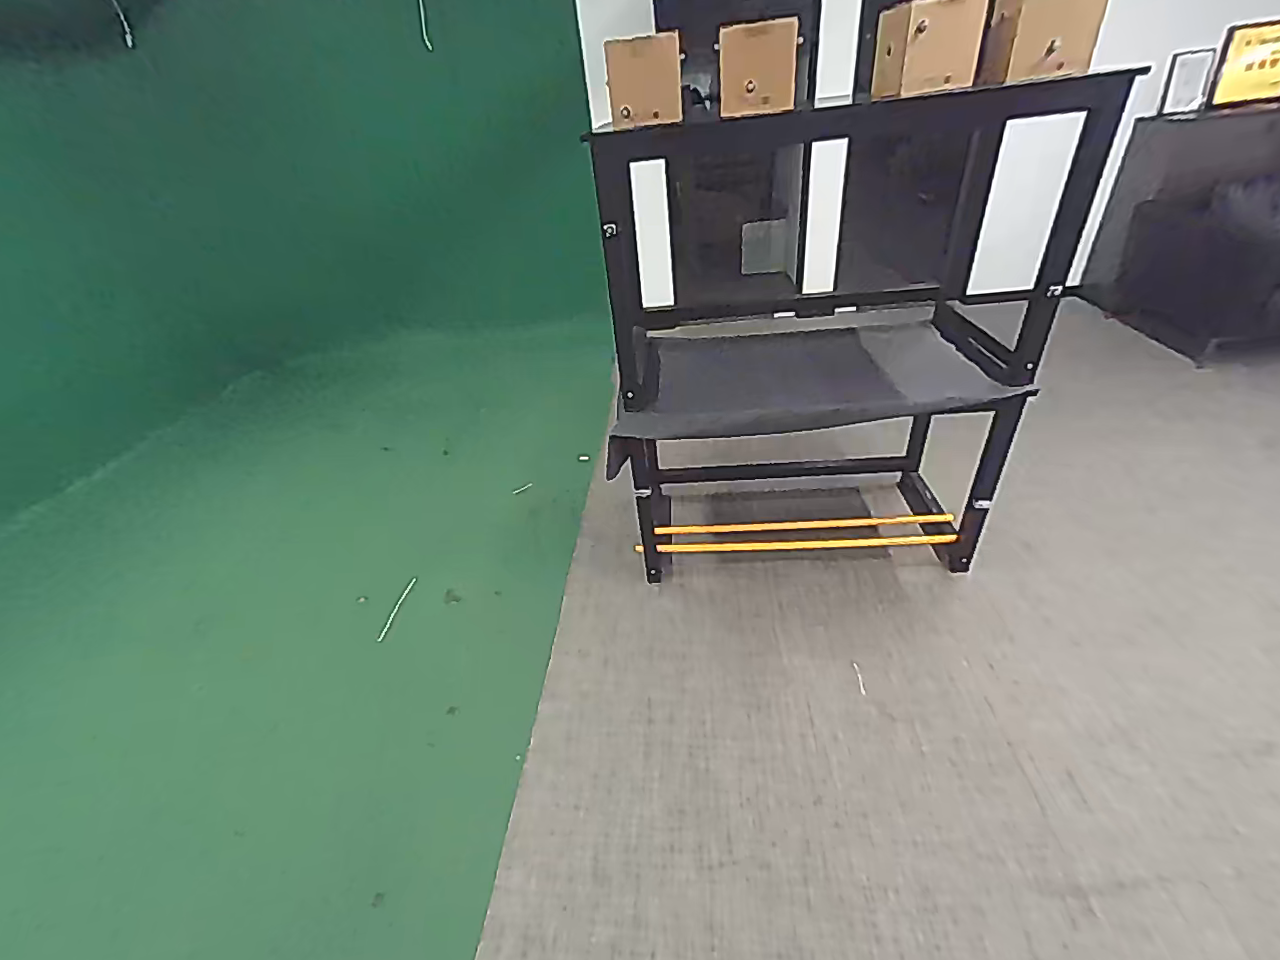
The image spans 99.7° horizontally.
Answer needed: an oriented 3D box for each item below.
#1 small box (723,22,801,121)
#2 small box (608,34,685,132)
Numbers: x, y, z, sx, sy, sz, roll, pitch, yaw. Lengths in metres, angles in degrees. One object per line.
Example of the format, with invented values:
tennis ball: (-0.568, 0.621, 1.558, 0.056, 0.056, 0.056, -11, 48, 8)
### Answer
small box: (0.286, -0.956, 1.276, 0.168, 0.176, 0.179, 2, 36, 12)
small box: (0.022, -0.946, 1.300, 0.168, 0.176, 0.179, -3, 34, 5)
